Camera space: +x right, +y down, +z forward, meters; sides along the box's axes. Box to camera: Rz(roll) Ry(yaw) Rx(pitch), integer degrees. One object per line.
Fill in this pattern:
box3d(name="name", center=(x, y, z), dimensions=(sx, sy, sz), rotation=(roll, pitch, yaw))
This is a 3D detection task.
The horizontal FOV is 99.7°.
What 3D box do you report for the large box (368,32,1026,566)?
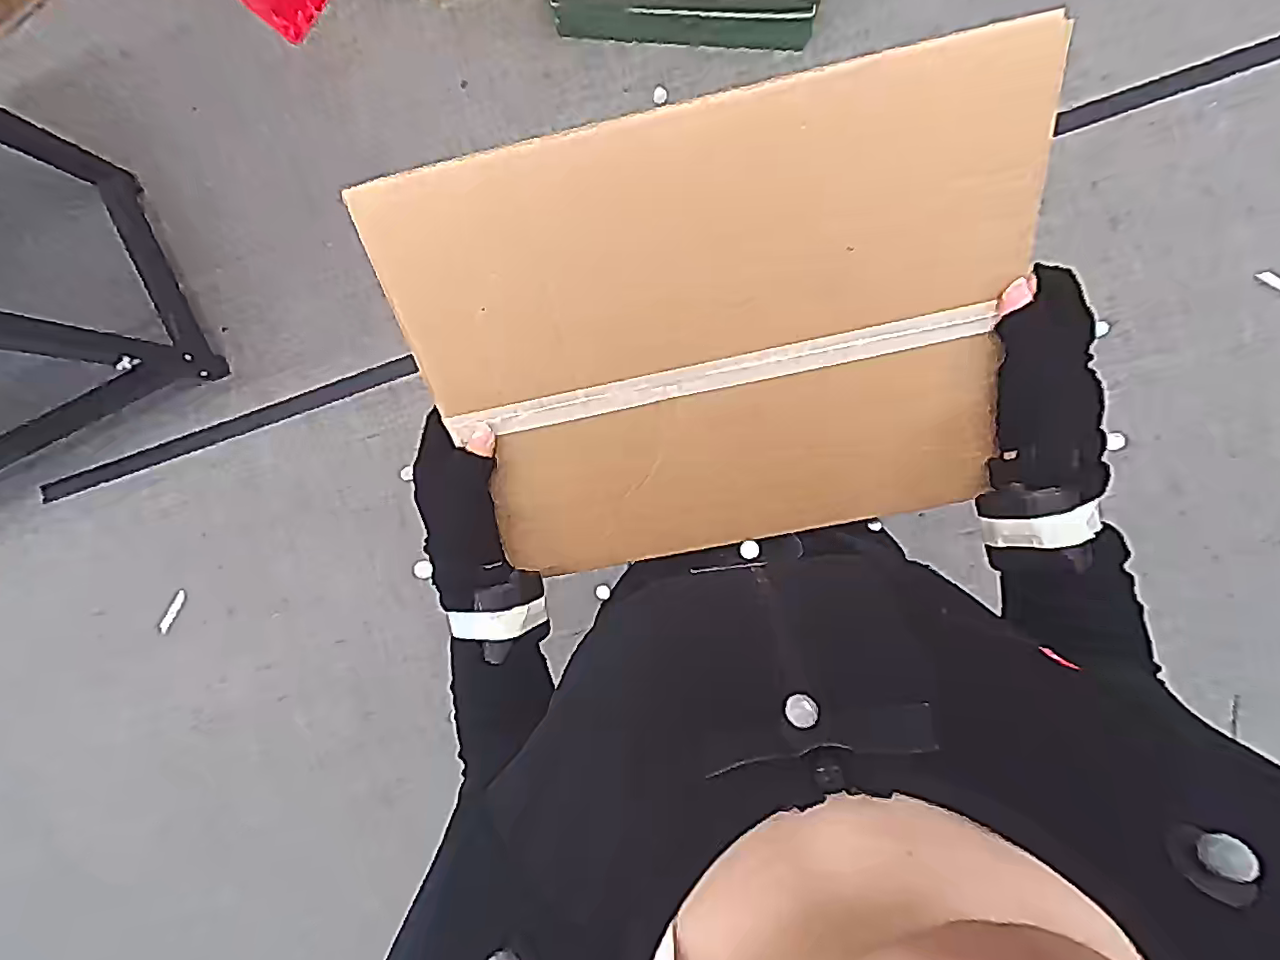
box3d(name="large box", center=(0.050, -0.166, 0.520), dimensions=(0.408, 0.320, 0.320), rotation=(-11, 122, 5))
